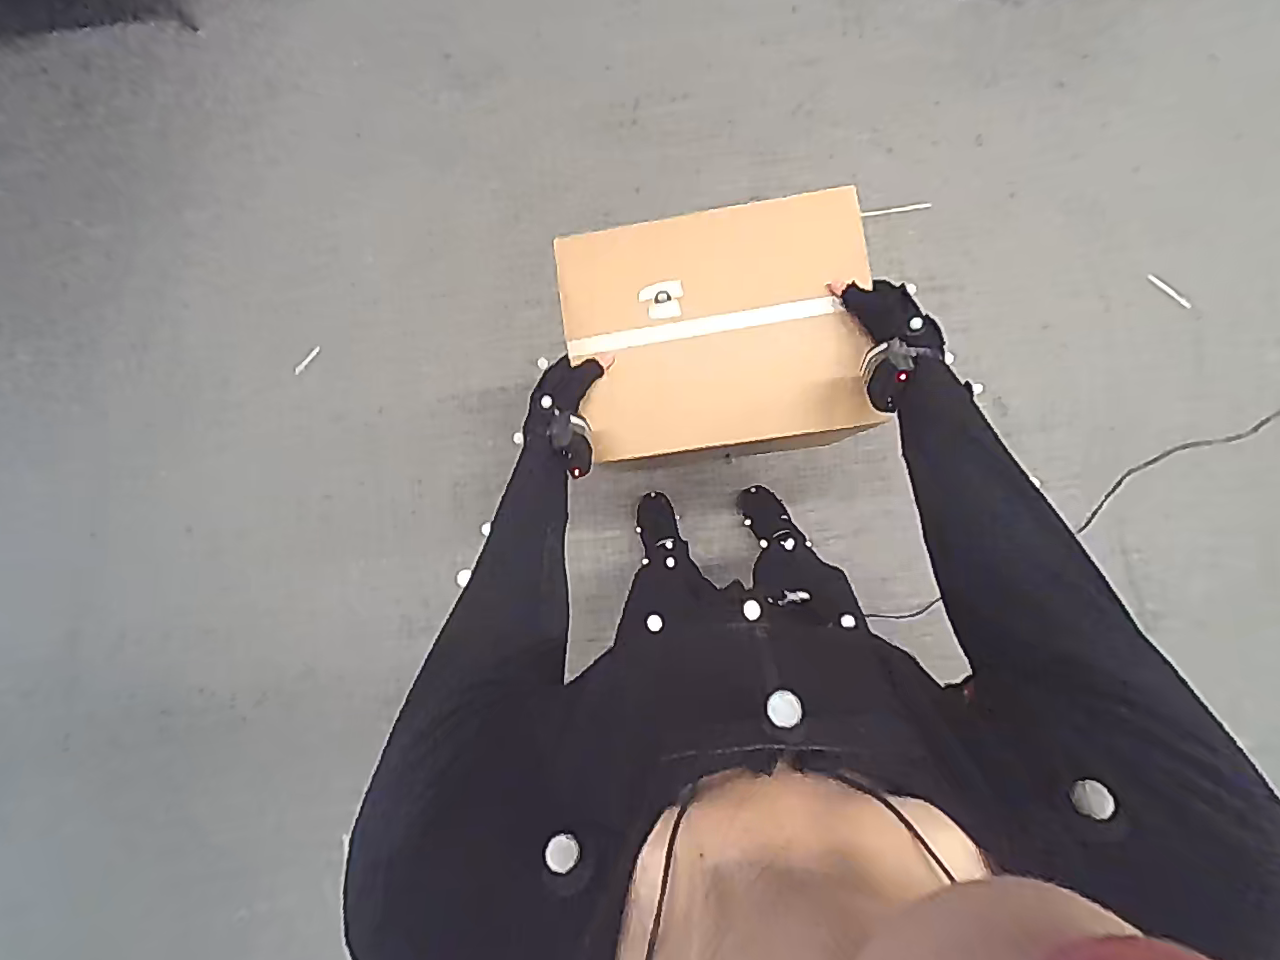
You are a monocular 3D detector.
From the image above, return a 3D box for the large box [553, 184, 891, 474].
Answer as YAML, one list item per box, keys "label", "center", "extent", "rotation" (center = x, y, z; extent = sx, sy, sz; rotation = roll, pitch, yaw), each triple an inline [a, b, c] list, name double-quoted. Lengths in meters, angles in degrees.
- label: "large box"
  center: [0.116, -0.192, 0.846]
  extent: [0.408, 0.320, 0.320]
  rotation: [-8, 87, 7]
